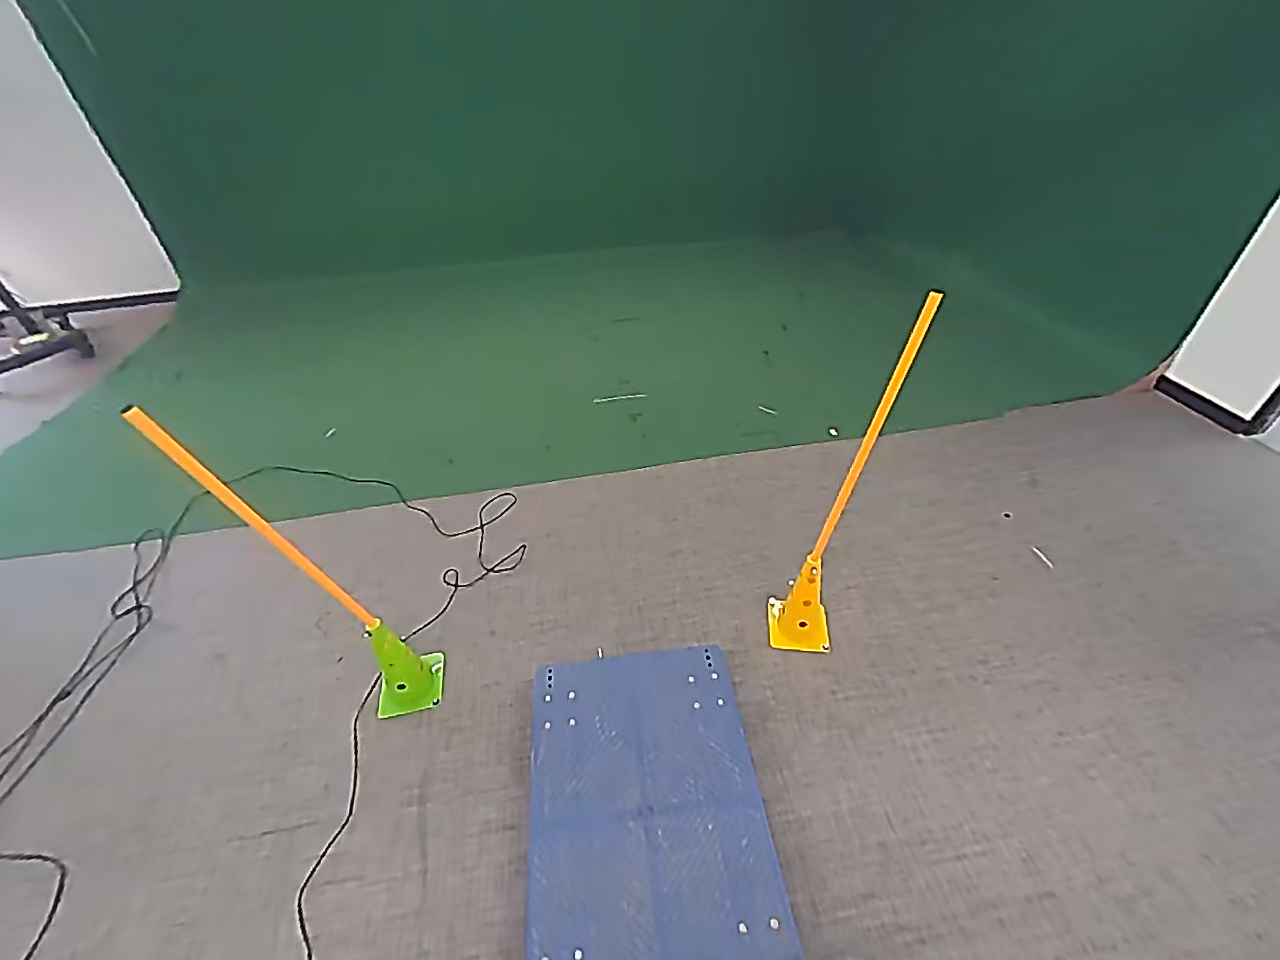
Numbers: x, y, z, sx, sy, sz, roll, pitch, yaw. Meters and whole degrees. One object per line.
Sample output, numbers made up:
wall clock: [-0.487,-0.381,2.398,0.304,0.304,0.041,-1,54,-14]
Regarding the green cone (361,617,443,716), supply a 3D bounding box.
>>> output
green cone: [-0.776,0.545,1.694,0.202,0.368,0.200,-12,41,-7]
